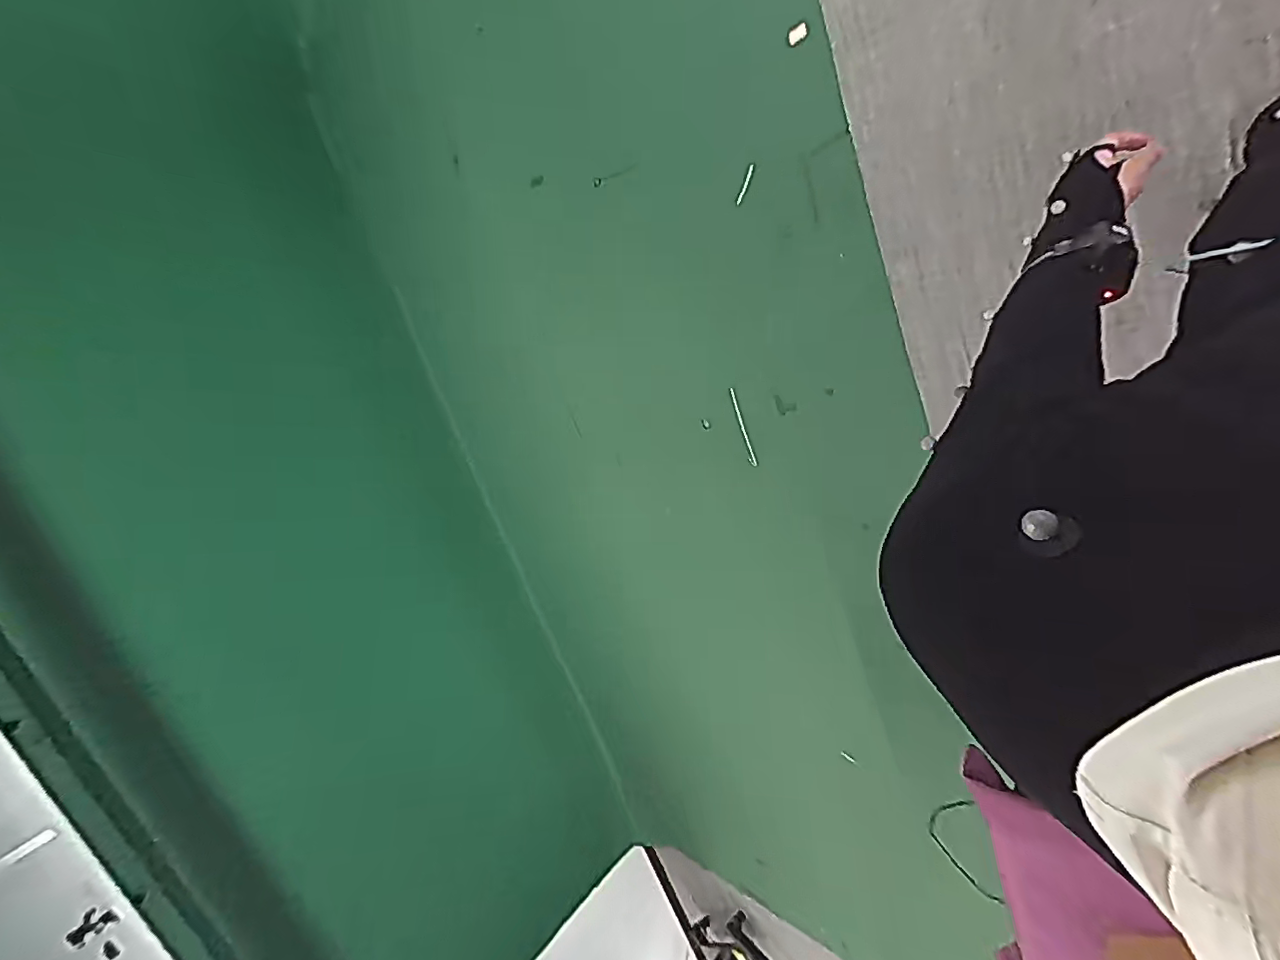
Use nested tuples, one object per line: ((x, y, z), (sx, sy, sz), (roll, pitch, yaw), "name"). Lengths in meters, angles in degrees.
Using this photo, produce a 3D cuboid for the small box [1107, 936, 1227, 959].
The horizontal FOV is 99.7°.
((0.928, 0.917, 0.909), (0.168, 0.176, 0.179), (47, 139, 14), "small box")
